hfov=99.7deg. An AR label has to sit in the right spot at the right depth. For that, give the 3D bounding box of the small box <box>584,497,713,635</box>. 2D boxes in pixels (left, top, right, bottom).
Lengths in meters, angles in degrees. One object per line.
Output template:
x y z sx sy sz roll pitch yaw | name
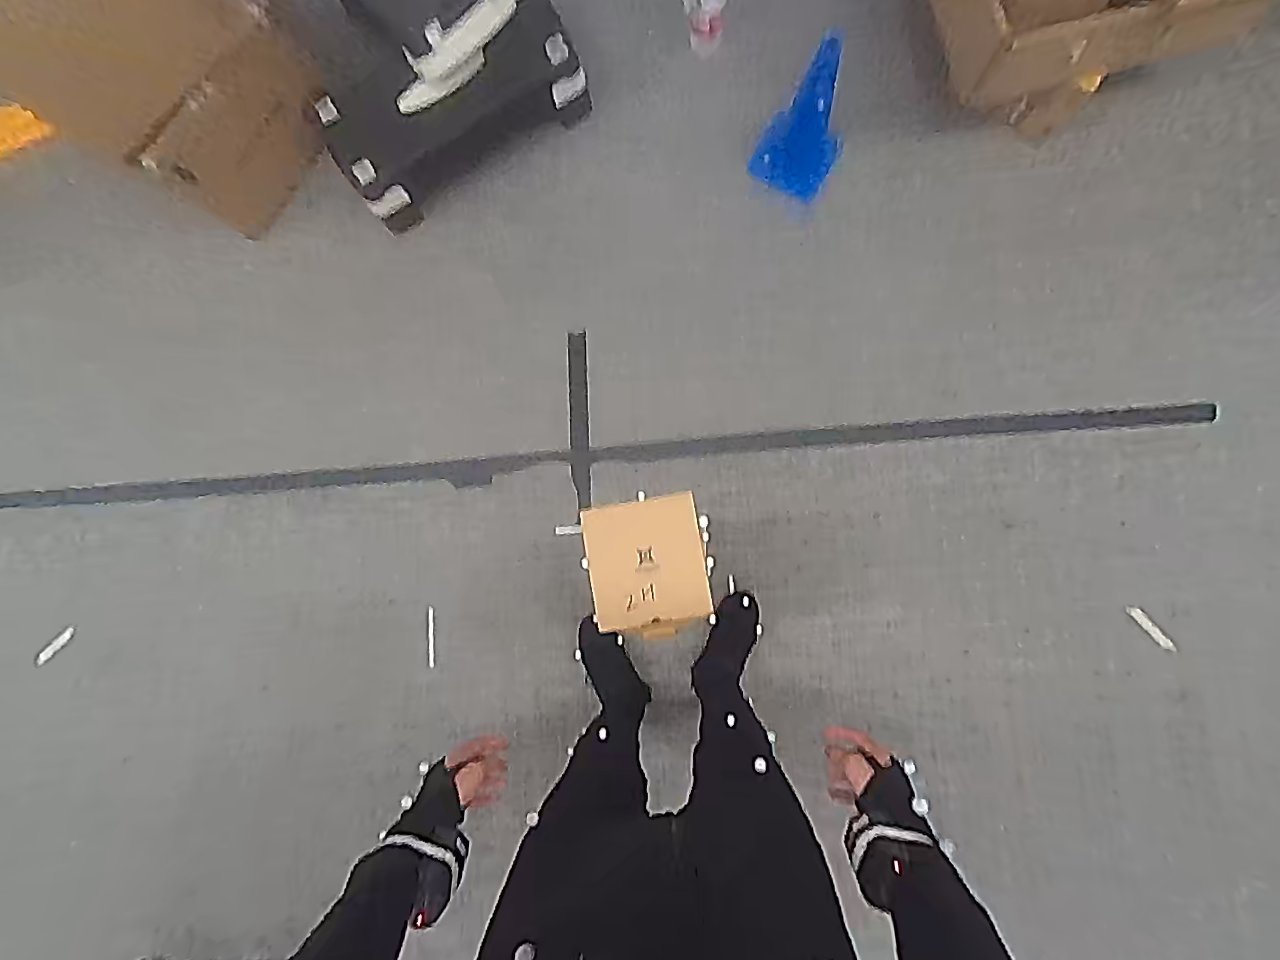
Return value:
0.015 0.128 0.844 0.168 0.176 0.179 -10 86 4 | small box

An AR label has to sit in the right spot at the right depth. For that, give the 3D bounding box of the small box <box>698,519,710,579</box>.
0.061 0.171 1.169 0.168 0.176 0.179 1 87 4 | small box
